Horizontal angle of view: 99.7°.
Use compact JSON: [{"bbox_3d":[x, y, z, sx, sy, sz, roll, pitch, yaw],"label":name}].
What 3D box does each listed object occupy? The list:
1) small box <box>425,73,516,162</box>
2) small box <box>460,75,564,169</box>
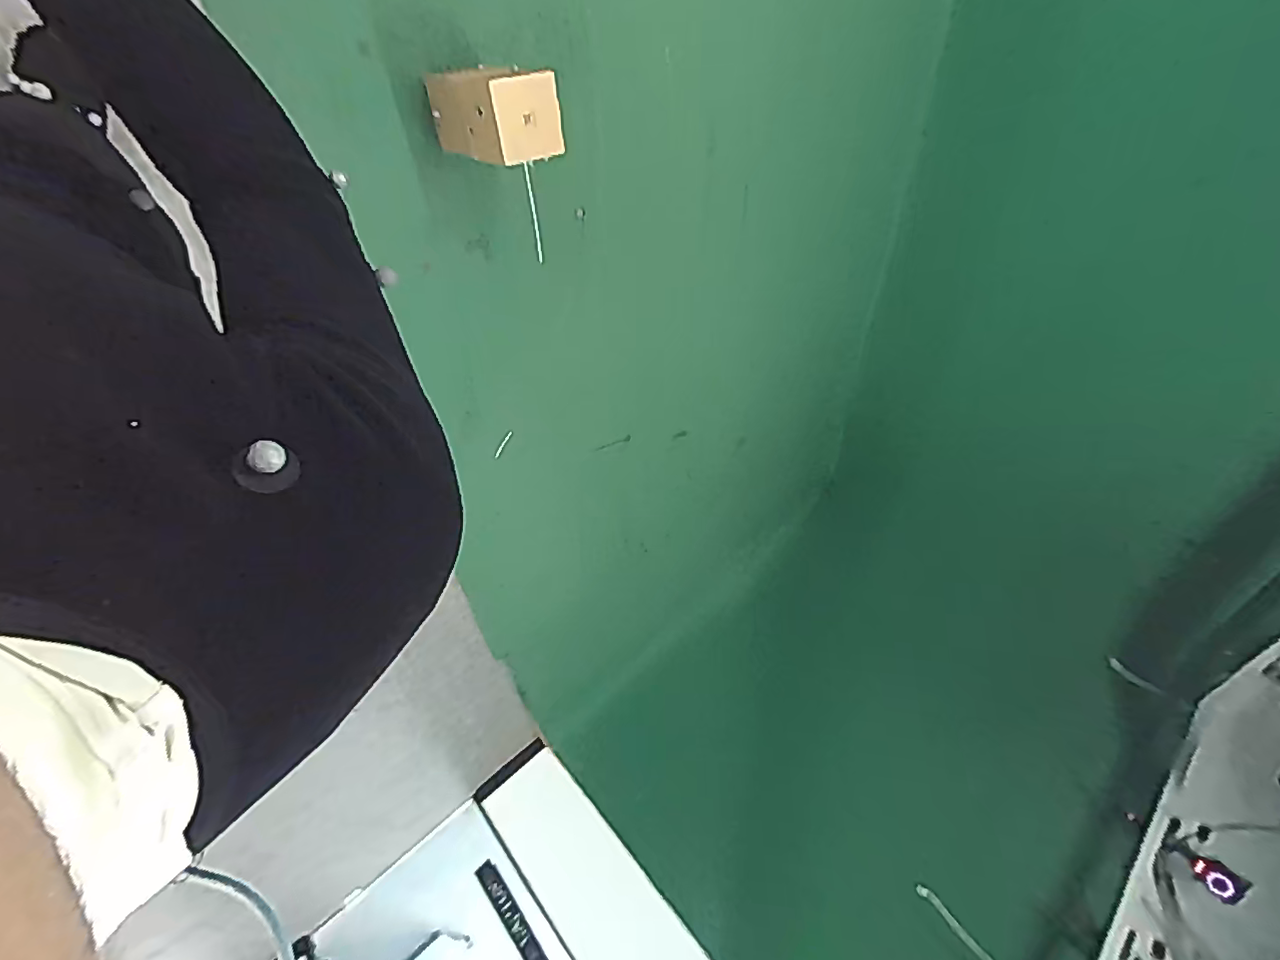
[{"bbox_3d":[-0.420,-0.940,1.396,0.179,0.176,0.168,-32,138,-27],"label":"small box"},{"bbox_3d":[-0.312,-0.863,1.303,0.179,0.176,0.168,-34,138,-28],"label":"small box"}]
